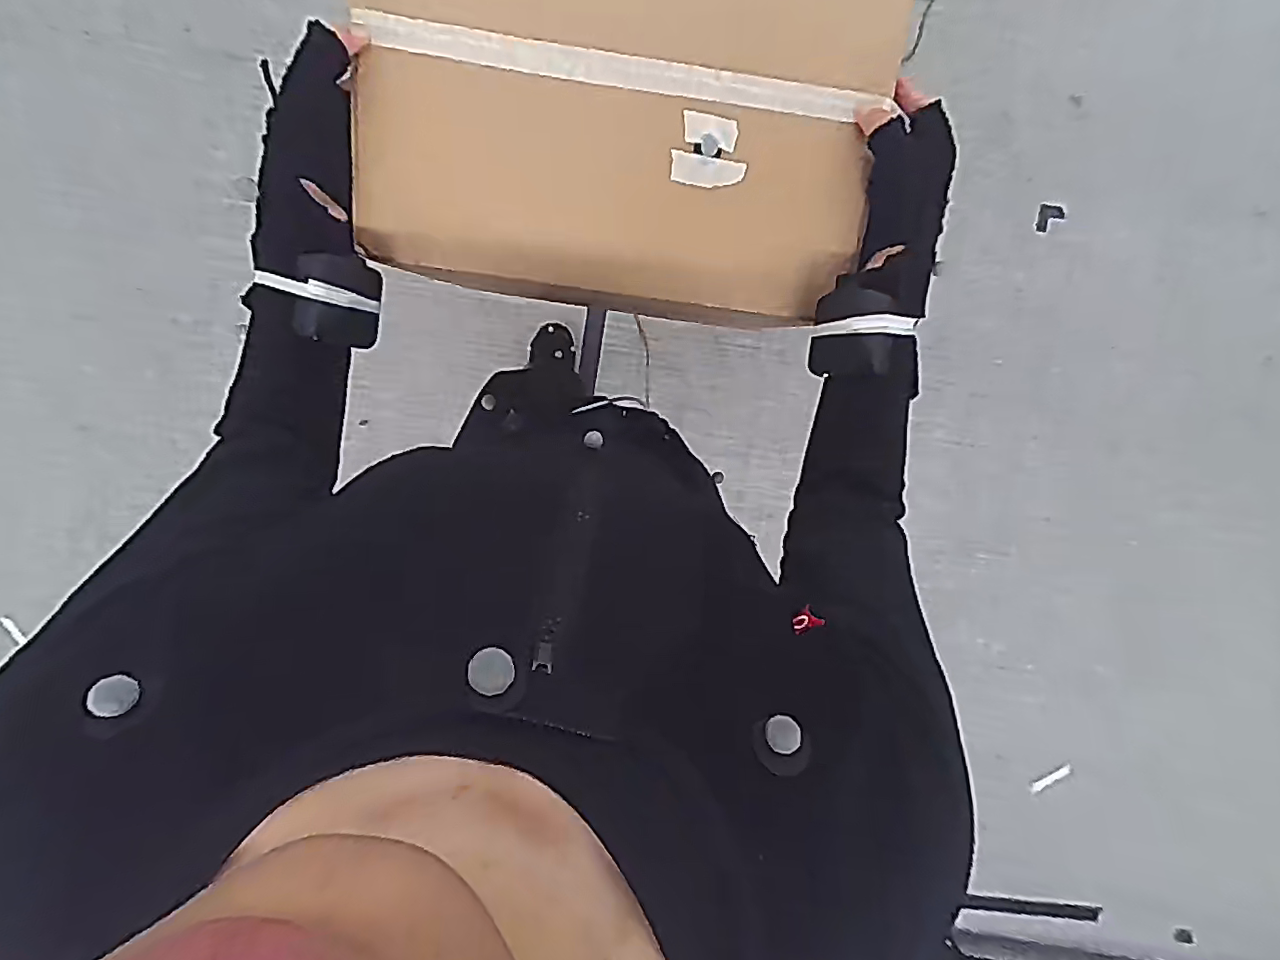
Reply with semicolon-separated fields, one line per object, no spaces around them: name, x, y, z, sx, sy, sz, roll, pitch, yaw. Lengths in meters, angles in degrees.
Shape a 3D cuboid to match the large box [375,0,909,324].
large box;-0.010;-0.346;0.560;0.408;0.320;0.320;6;105;-5
